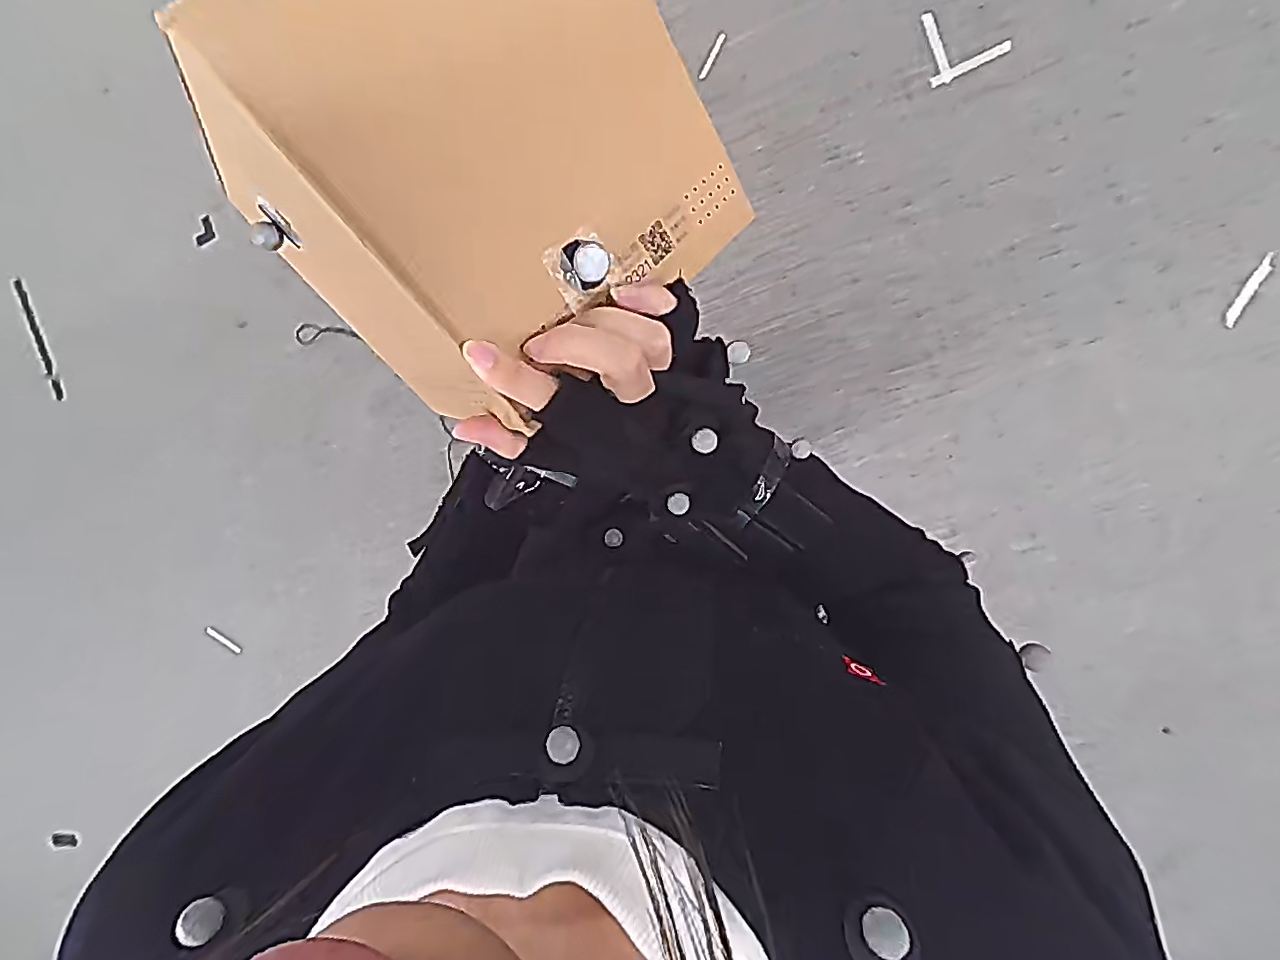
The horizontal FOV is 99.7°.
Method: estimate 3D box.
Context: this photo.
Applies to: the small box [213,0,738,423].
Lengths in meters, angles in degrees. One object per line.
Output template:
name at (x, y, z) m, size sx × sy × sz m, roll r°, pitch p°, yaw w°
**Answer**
small box at (-0.082, -0.148, 0.303) m, size 0.168 × 0.179 × 0.176 m, roll -49°, pitch 120°, yaw -16°
